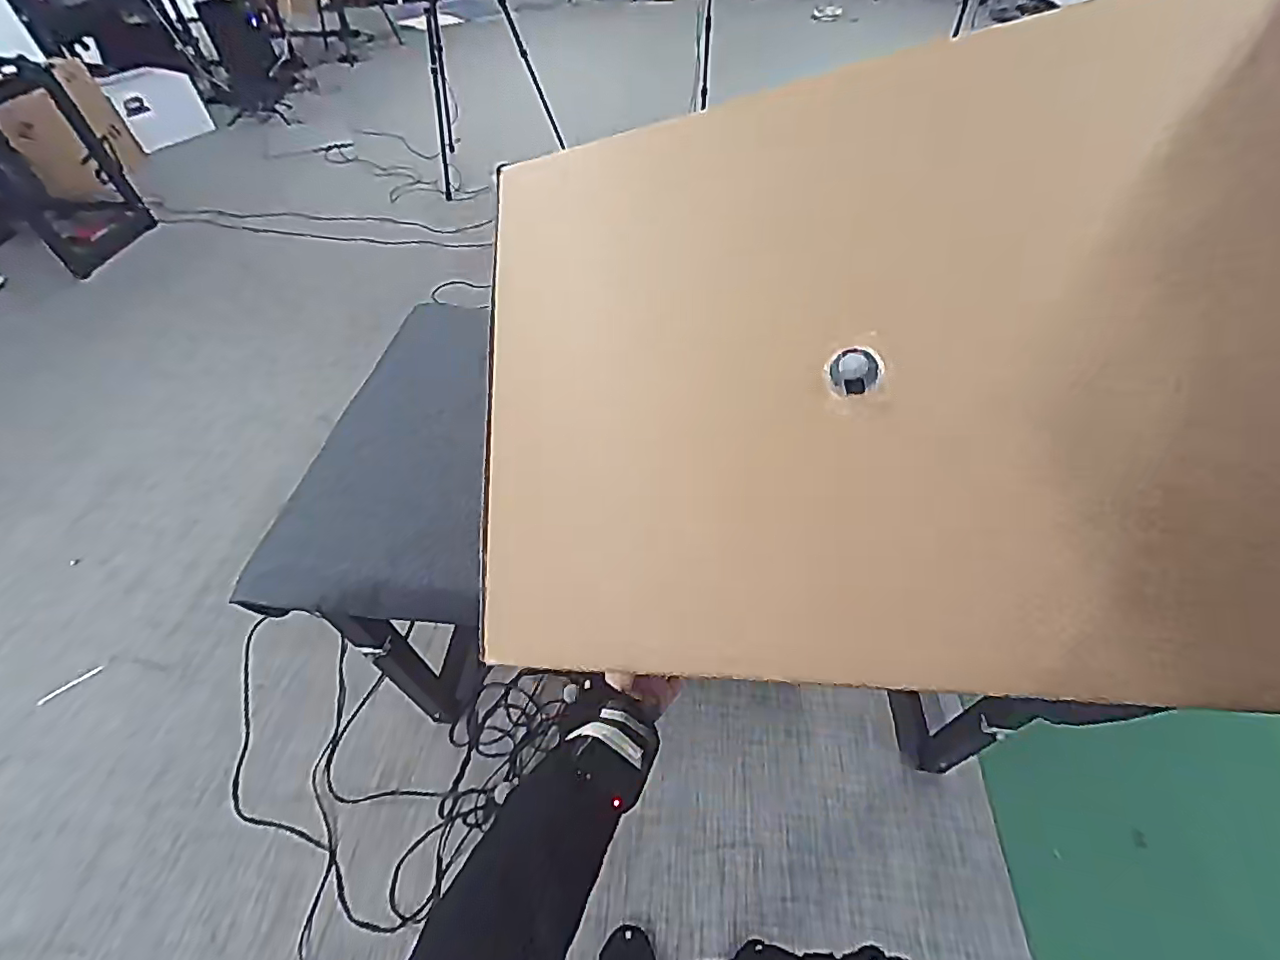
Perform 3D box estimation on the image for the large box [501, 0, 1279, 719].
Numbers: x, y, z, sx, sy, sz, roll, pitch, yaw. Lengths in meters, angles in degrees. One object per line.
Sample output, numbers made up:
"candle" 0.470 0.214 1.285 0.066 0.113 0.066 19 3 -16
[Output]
"large box" 0.151 -0.030 0.407 0.408 0.320 0.320 -5 80 17
